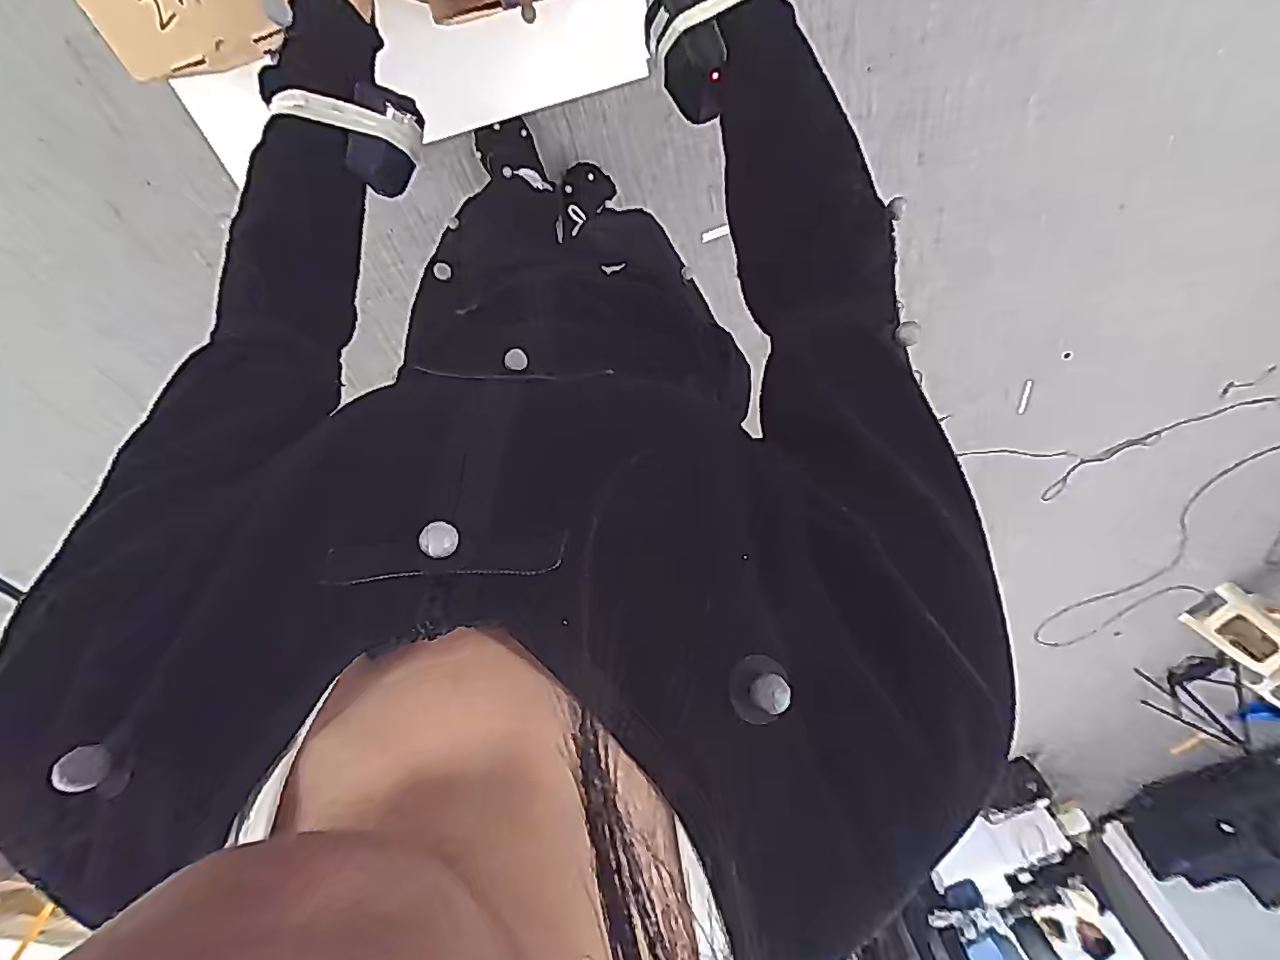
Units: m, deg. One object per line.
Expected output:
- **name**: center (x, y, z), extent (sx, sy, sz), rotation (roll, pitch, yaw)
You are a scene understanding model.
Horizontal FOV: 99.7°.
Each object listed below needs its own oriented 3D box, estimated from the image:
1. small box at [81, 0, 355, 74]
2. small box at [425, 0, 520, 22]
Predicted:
- **small box**: center (-0.375, -0.470, 0.450), extent (0.168, 0.176, 0.179), rotation (-18, 131, 2)
- **small box**: center (-0.128, -0.525, 0.461), extent (0.168, 0.176, 0.179), rotation (-16, 132, 0)
